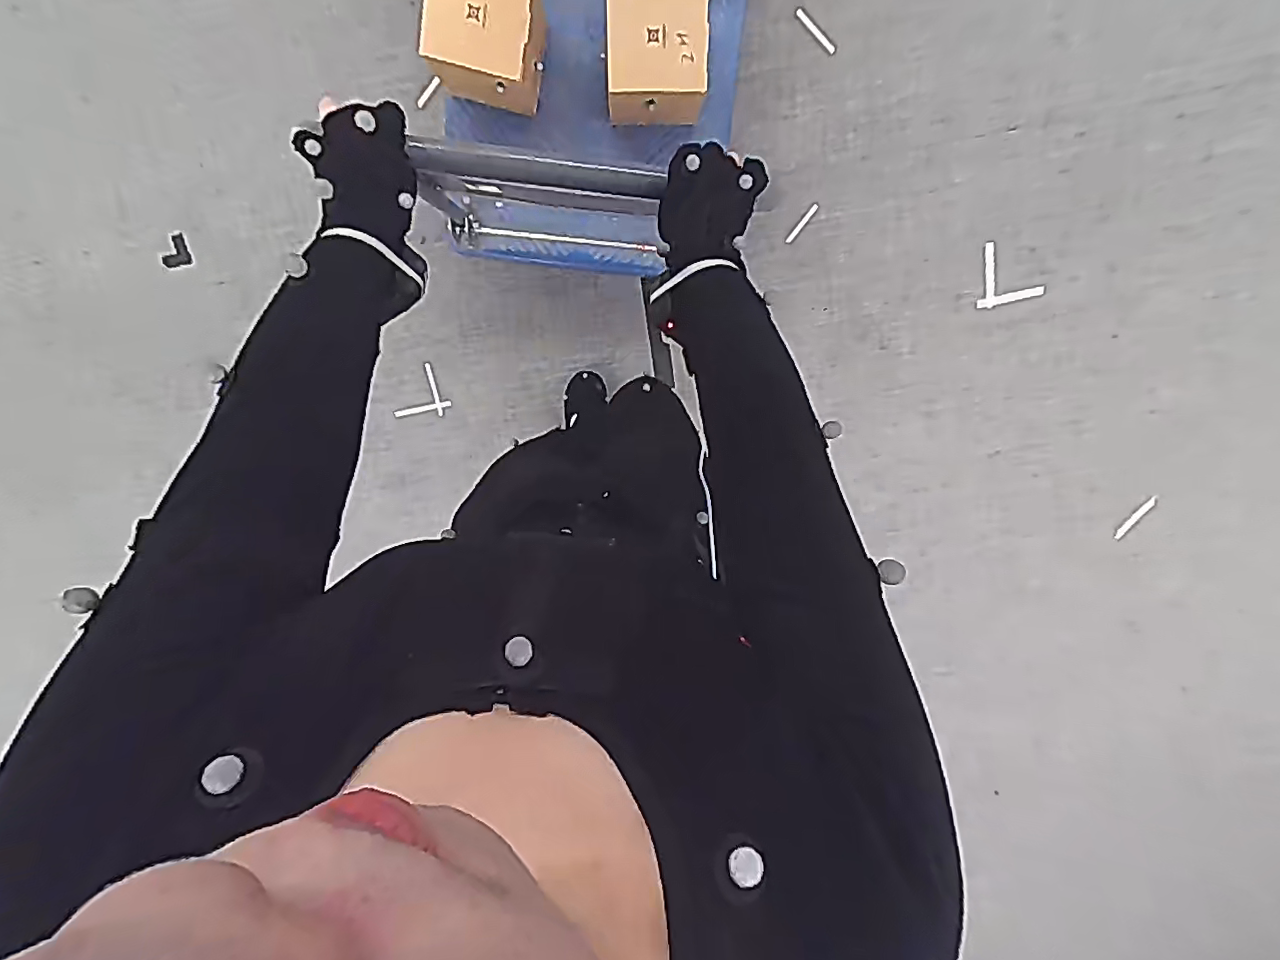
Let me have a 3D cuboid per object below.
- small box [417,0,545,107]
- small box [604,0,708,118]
[{"bbox_3d":[-0.278,-0.804,0.969,0.179,0.176,0.168,10,106,-7],"label":"small box"},{"bbox_3d":[0.026,-0.781,0.987,0.179,0.176,0.168,-1,108,-1],"label":"small box"}]
